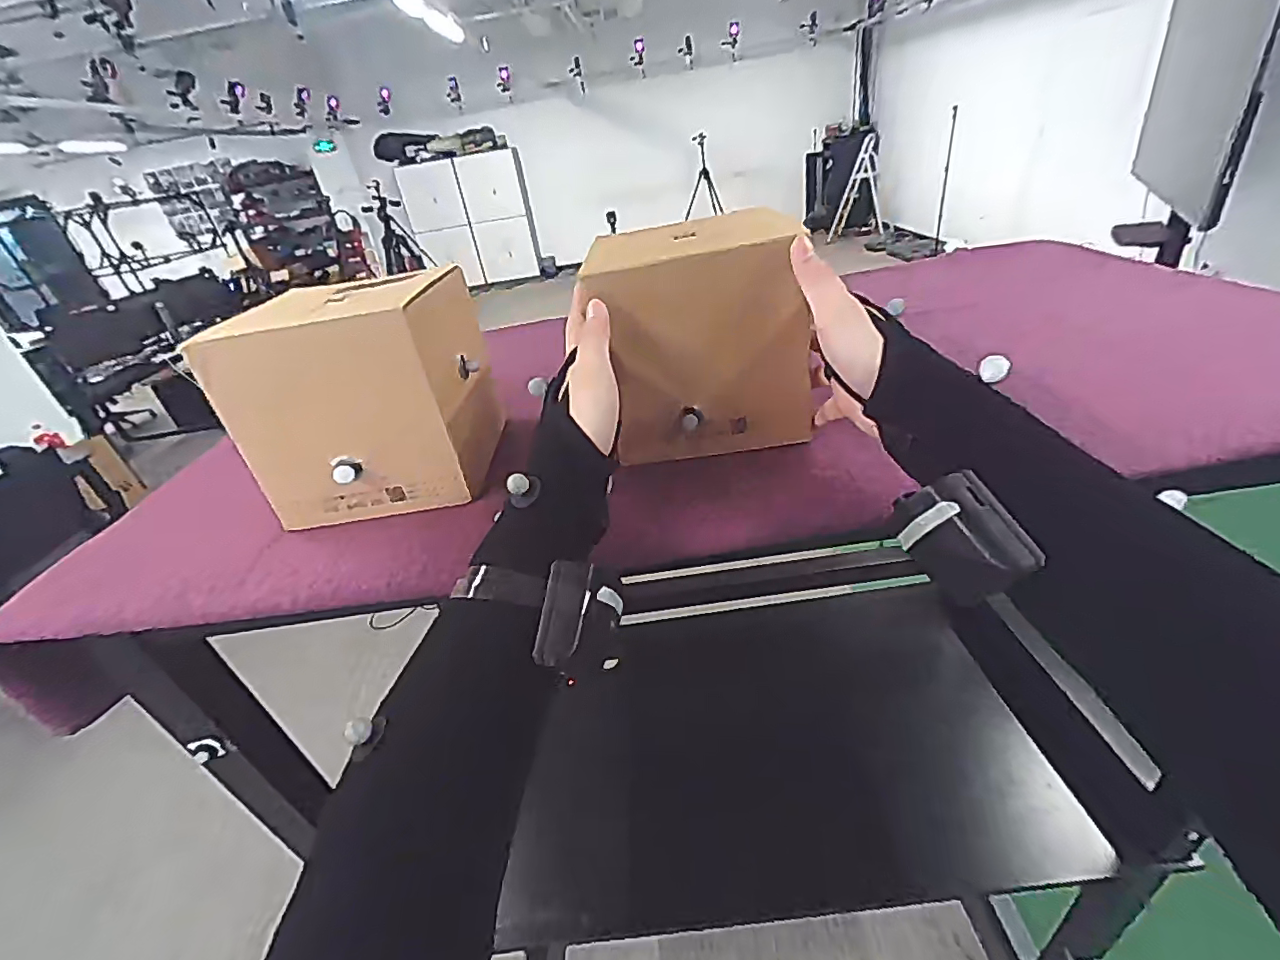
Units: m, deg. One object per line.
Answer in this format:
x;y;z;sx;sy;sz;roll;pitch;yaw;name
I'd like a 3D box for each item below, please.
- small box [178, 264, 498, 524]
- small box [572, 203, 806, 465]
-0.239;-0.083;0.489;0.168;0.176;0.179;-9;32;2;small box
0.046;-0.134;0.488;0.168;0.176;0.179;-8;34;6;small box
